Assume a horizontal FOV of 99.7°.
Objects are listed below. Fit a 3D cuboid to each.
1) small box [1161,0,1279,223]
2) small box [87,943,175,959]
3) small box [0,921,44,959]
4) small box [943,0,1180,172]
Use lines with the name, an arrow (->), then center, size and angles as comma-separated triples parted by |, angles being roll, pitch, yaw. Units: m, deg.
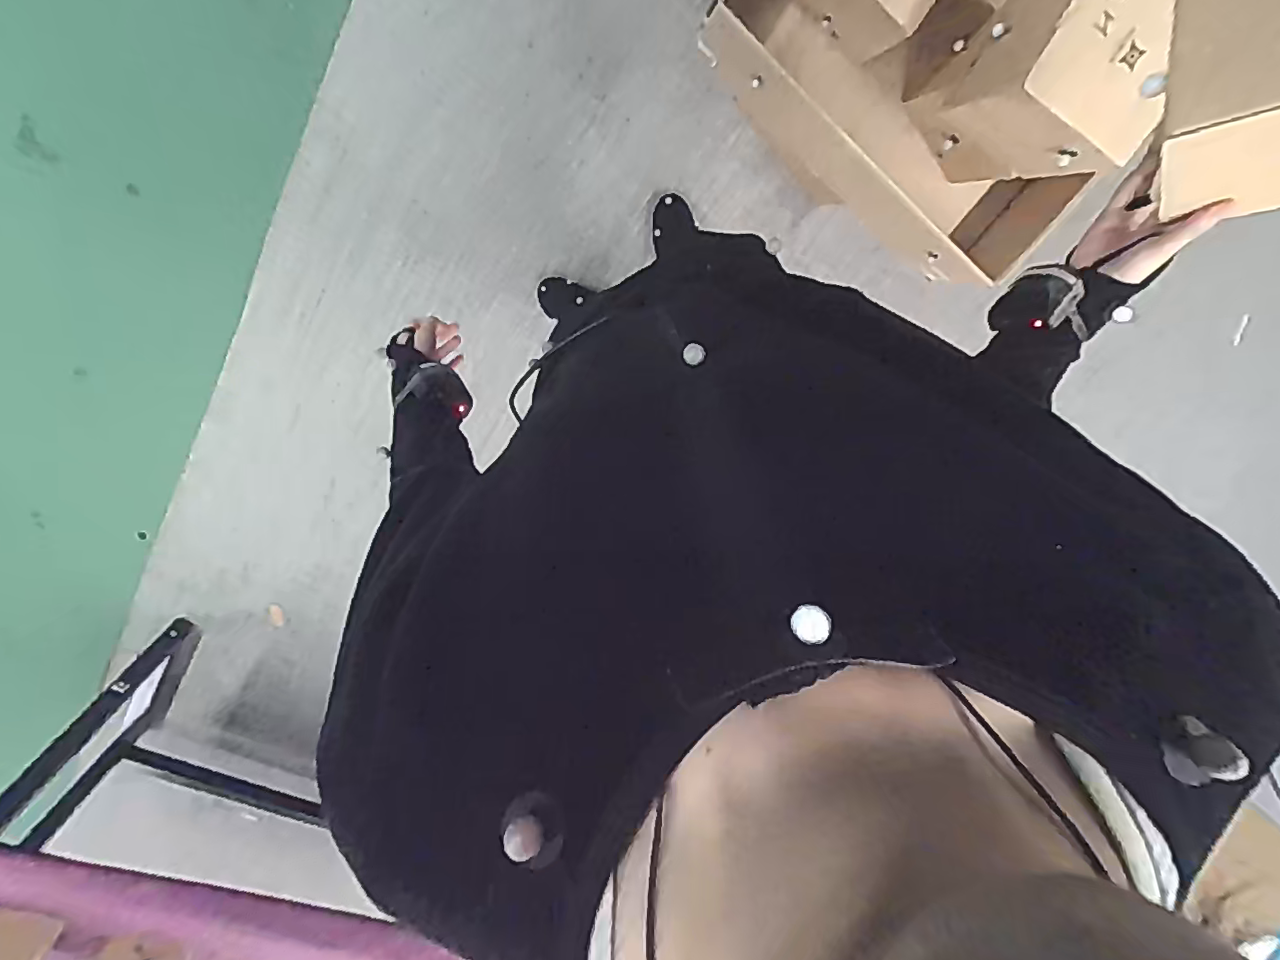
small box -> 0.466, -0.301, 0.349 | 0.168, 0.179, 0.176 | 2, 92, -46
small box -> -1.150, 1.145, 1.159 | 0.168, 0.176, 0.179 | 27, 110, -18
small box -> -1.356, 0.994, 1.064 | 0.179, 0.176, 0.168 | 33, 110, -19
small box -> 0.526, -0.502, 0.659 | 0.179, 0.176, 0.168 | 24, 111, -14
